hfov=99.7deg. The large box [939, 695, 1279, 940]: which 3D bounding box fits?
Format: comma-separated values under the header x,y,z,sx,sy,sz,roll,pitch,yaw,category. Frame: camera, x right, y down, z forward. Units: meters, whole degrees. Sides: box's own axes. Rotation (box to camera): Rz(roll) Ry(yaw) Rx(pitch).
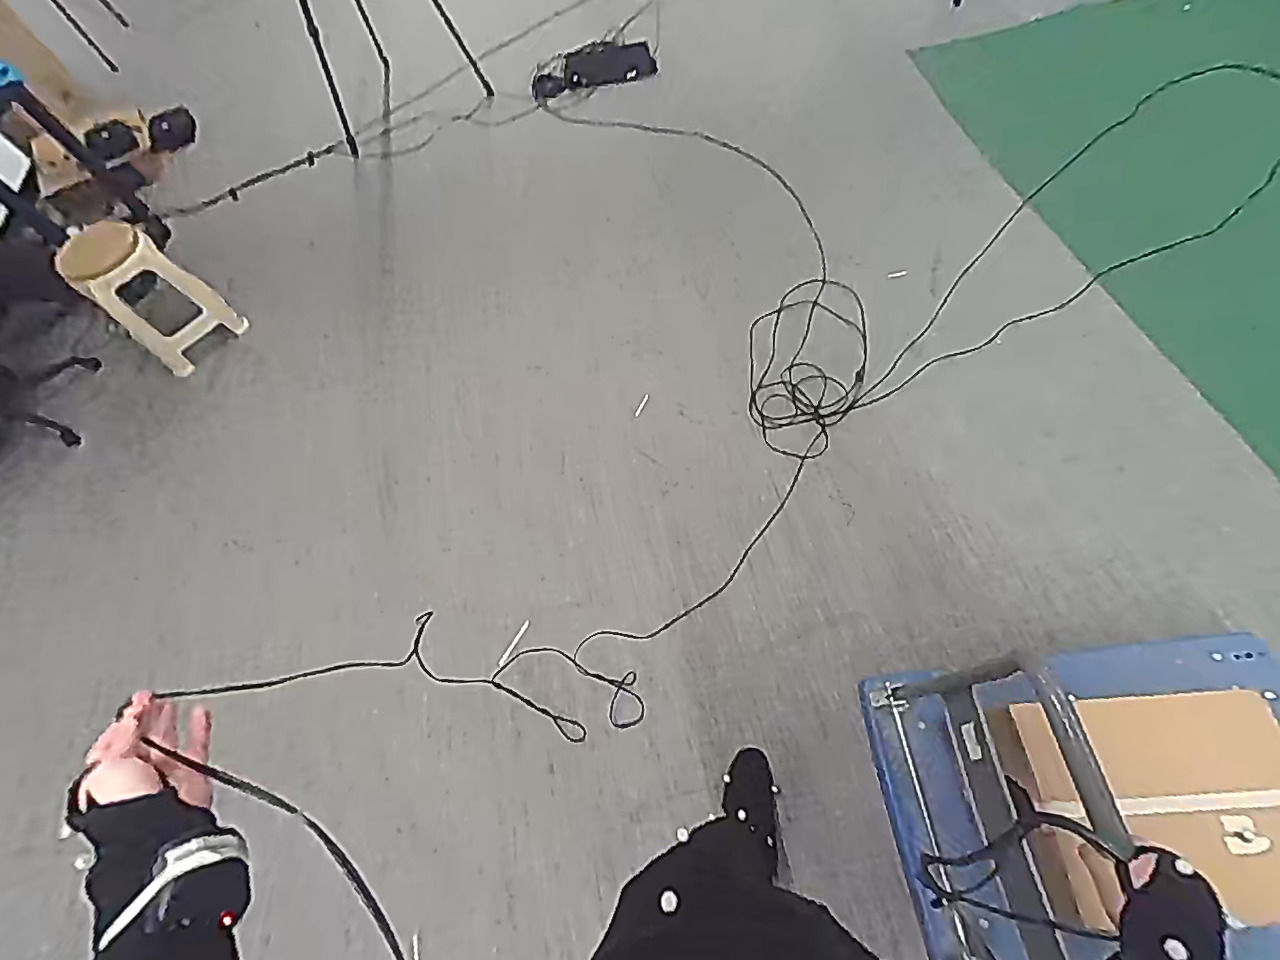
x,y,z,sx,sy,sz,roll,pitch,yaw,category
0.847,0.591,0.983,0.408,0.320,0.320,-6,62,4,large box
